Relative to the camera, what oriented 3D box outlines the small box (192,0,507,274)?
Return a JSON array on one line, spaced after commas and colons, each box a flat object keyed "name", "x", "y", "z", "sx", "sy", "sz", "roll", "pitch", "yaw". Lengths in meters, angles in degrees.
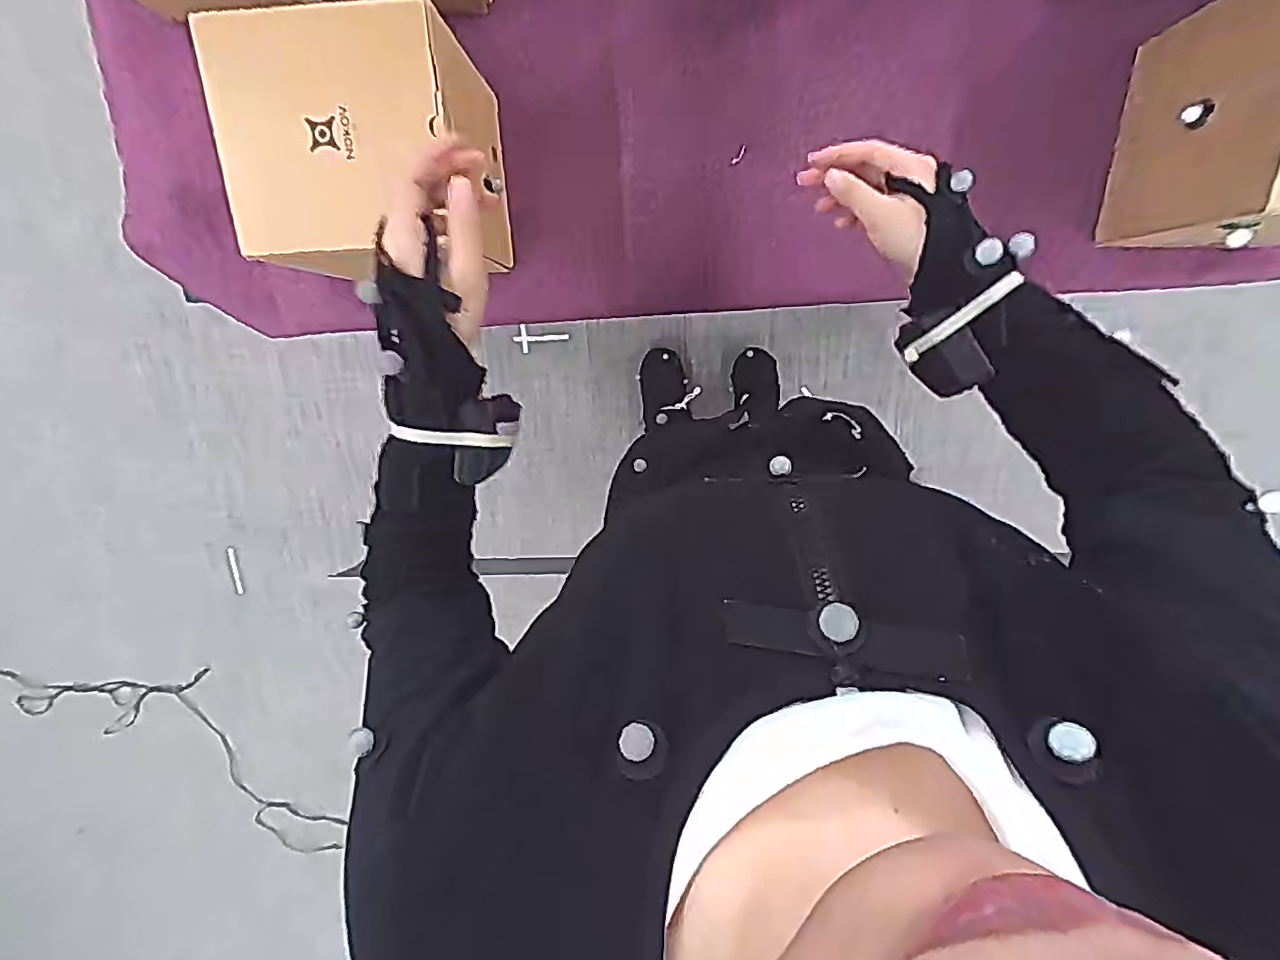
[{"name": "small box", "x": -0.236, "y": -0.286, "z": 0.488, "sx": 0.179, "sy": 0.176, "sz": 0.168, "roll": -3, "pitch": 105, "yaw": 2}]
